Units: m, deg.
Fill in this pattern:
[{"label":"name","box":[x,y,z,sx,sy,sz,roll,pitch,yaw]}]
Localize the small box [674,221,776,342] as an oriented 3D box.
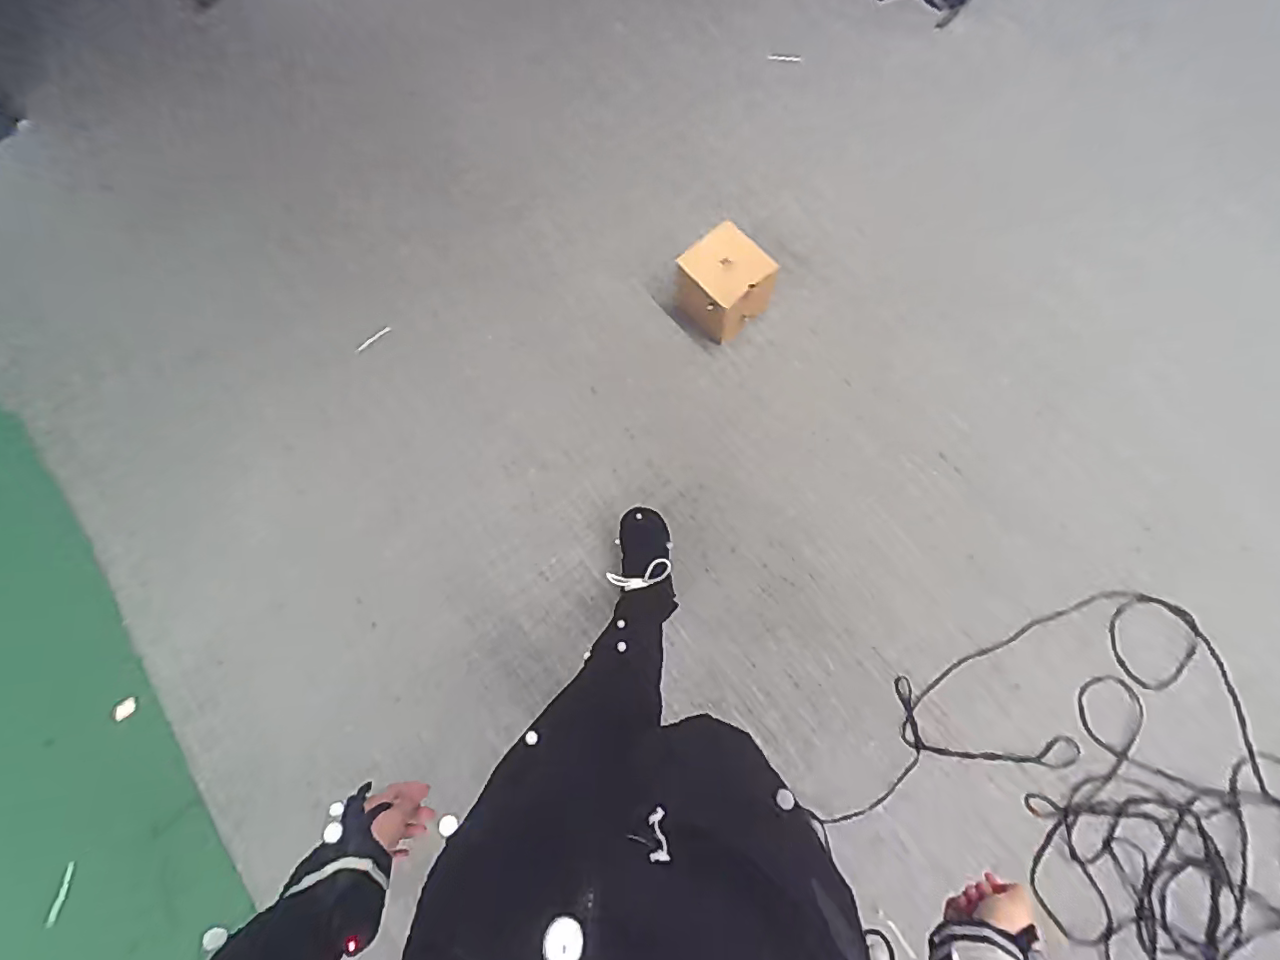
[{"label":"small box","box":[0.197,-0.470,1.304,0.168,0.176,0.179,-40,77,-7]}]
